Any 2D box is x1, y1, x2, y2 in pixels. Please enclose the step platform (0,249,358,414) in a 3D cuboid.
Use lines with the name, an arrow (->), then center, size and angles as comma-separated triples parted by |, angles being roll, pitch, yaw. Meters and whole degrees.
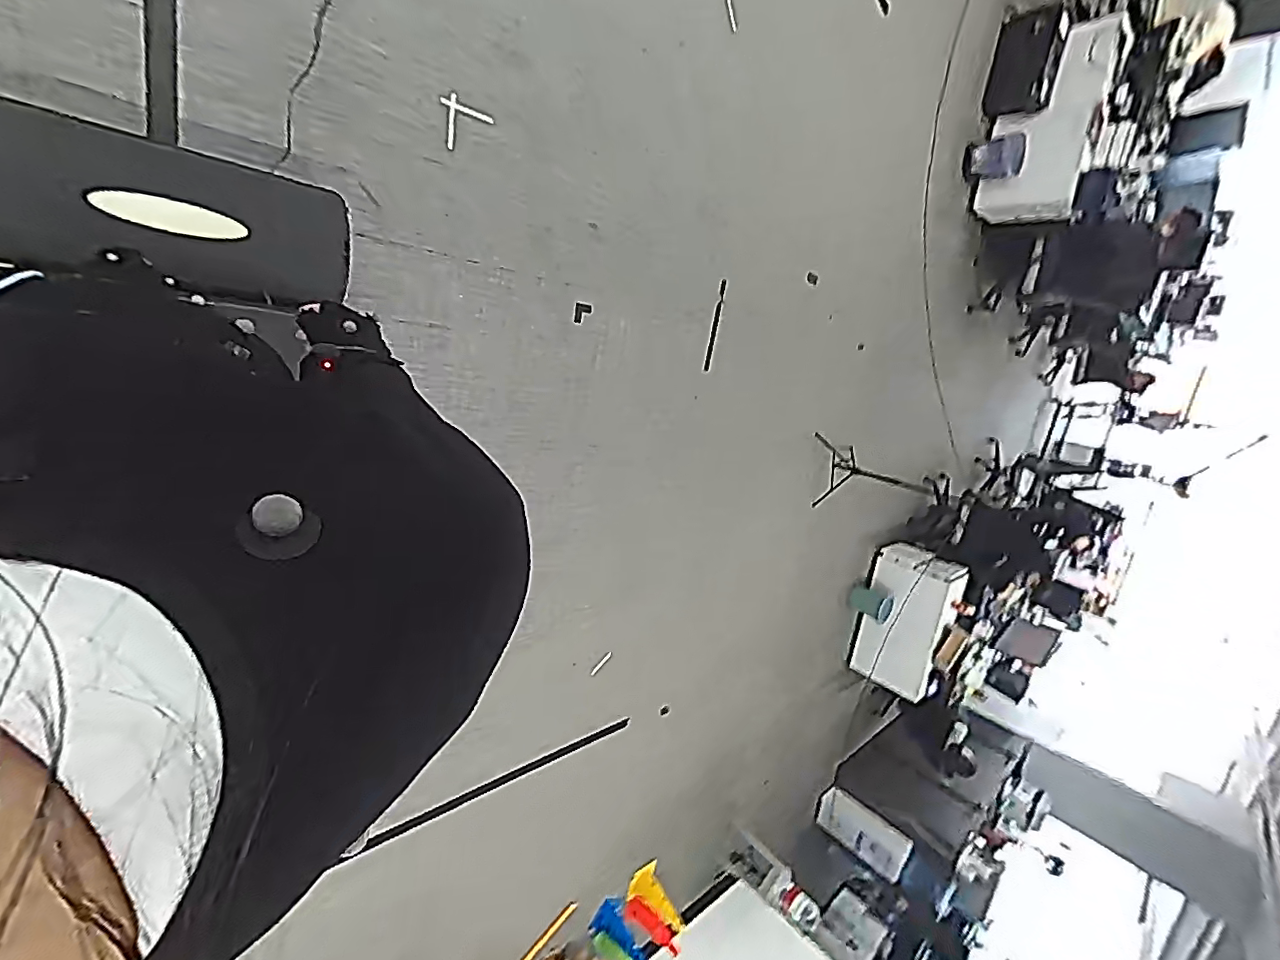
step platform -> -0.997, -0.296, 1.173 | 0.684, 0.204, 0.286 | -4, 108, -42
